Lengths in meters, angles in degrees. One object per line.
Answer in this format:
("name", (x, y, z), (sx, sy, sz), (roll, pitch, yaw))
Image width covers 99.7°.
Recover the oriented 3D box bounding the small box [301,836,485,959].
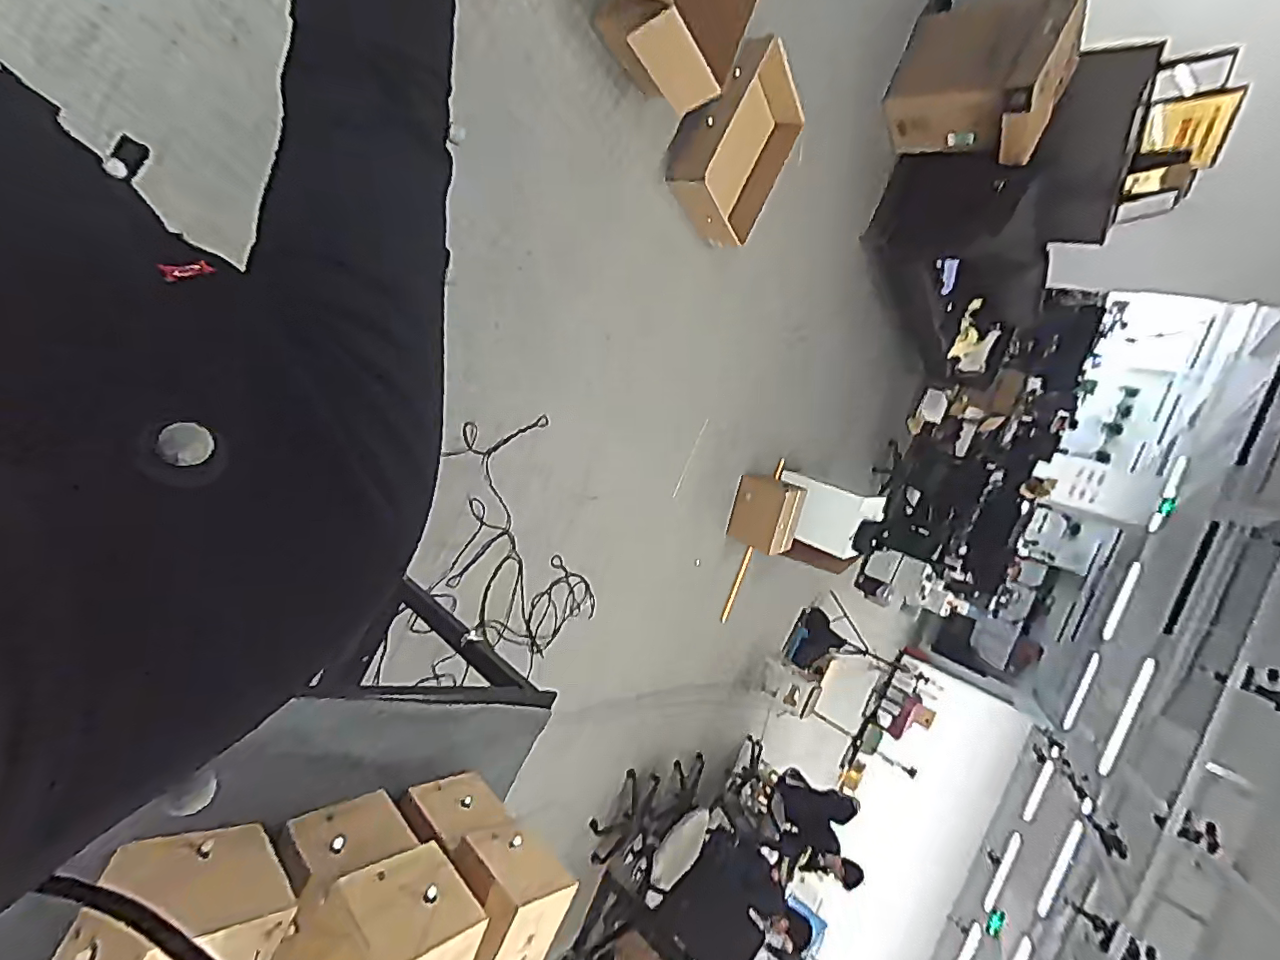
("small box", (-0.368, 0.673, 0.802), (0.168, 0.176, 0.179), (17, 97, -53))
